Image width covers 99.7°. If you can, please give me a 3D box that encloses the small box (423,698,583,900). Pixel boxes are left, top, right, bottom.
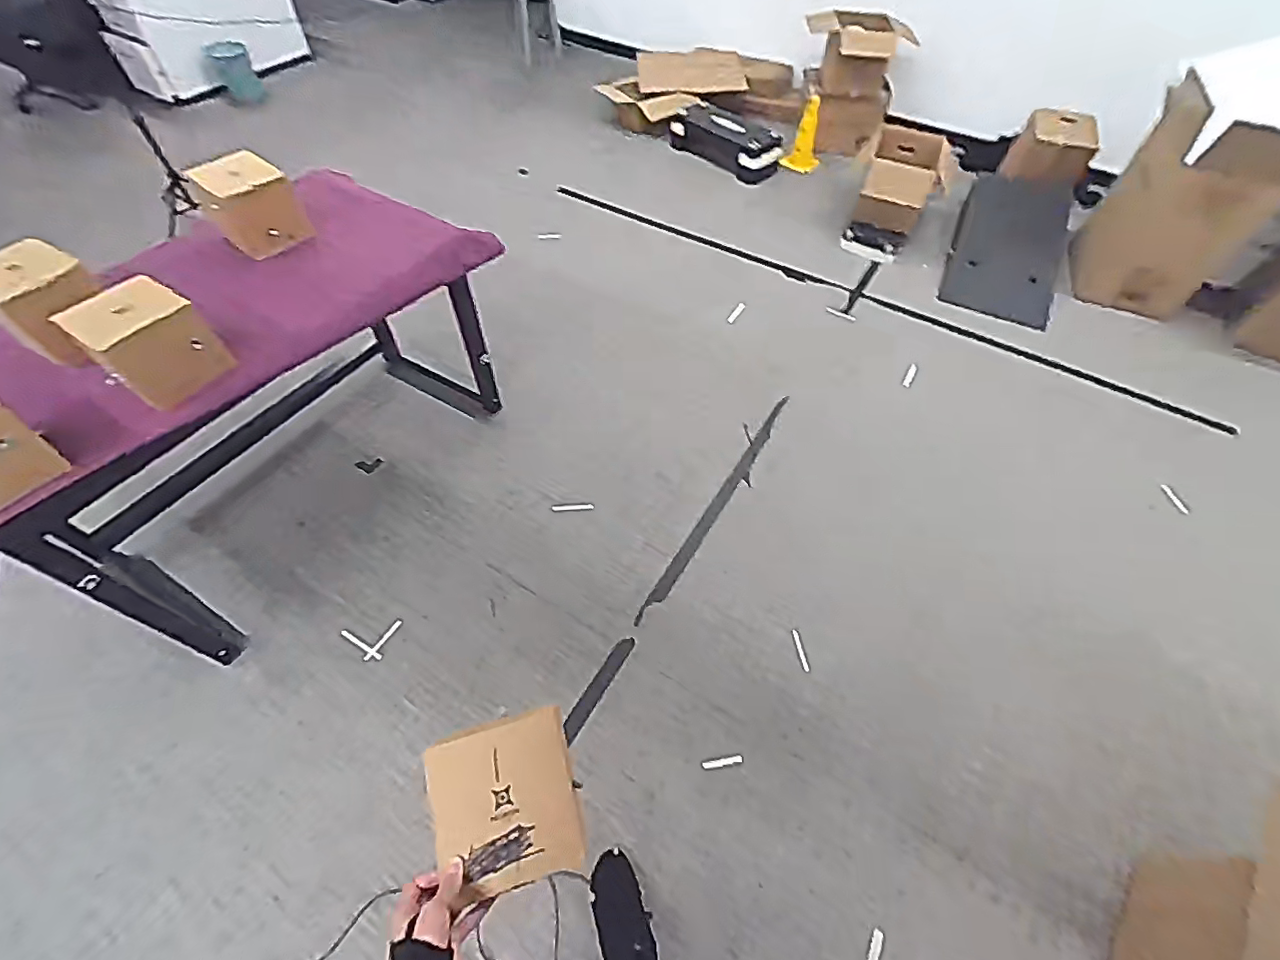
[{"bbox_3d":[-0.174,0.407,0.725,0.168,0.176,0.179,-13,72,-12],"label":"small box"}]

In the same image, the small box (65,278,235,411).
[{"bbox_3d":[-0.985,-0.276,1.112,0.168,0.176,0.179,28,57,17],"label":"small box"}]

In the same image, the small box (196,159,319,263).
[{"bbox_3d":[-0.996,-0.704,1.420,0.179,0.176,0.168,35,61,19],"label":"small box"}]

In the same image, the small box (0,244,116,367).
[{"bbox_3d":[-1.256,-0.374,1.172,0.179,0.176,0.168,25,57,14],"label":"small box"}]
